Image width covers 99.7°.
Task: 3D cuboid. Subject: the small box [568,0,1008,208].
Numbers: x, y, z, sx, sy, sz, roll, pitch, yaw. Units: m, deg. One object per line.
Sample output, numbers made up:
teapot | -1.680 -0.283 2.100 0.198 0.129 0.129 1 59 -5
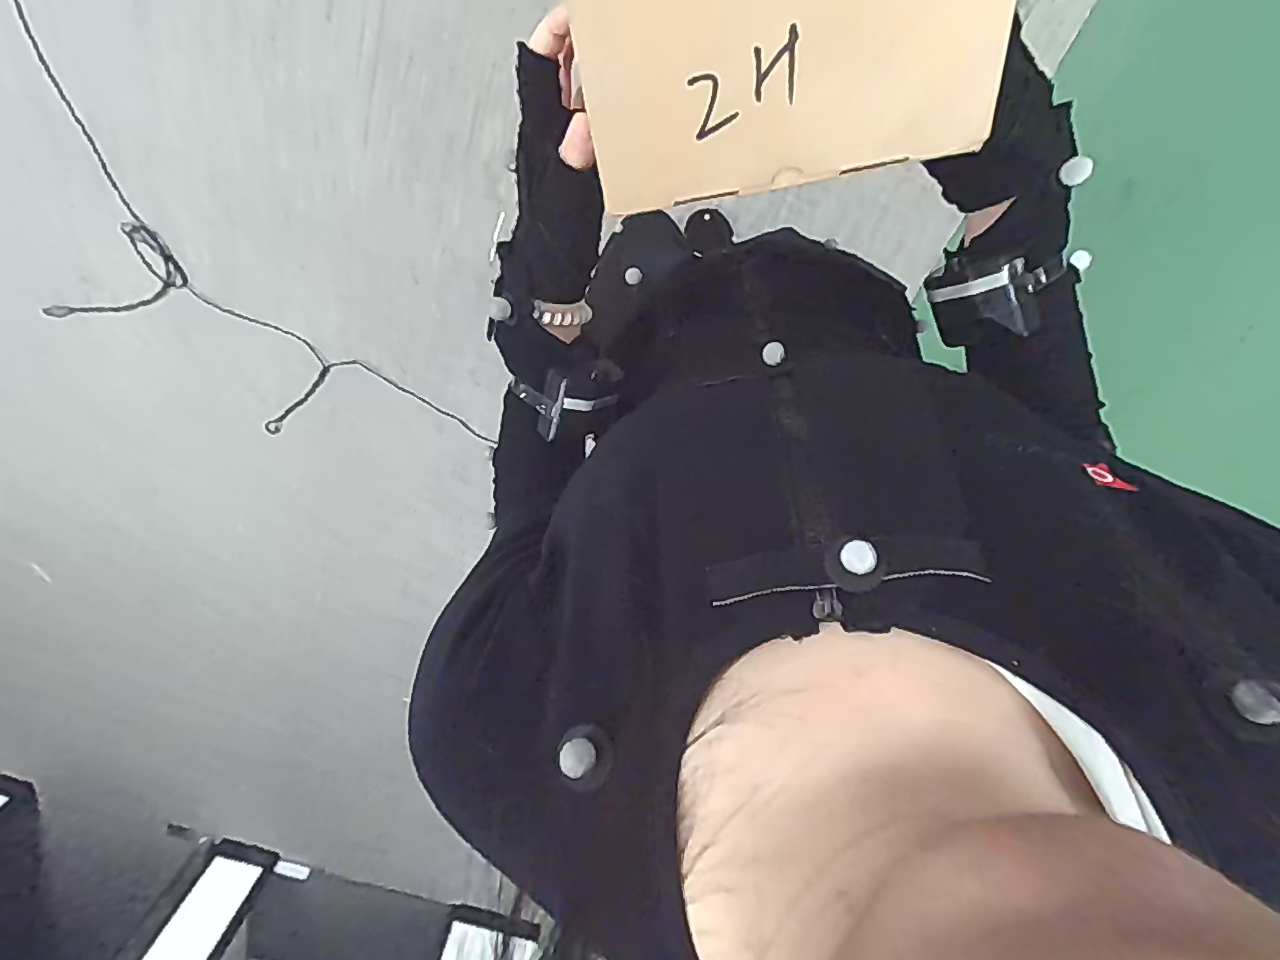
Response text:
small box | 0.053 -0.250 0.250 0.168 0.176 0.179 -6 129 8

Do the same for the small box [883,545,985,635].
small box | 0.855 0.316 1.593 0.179 0.176 0.168 21 118 -7
